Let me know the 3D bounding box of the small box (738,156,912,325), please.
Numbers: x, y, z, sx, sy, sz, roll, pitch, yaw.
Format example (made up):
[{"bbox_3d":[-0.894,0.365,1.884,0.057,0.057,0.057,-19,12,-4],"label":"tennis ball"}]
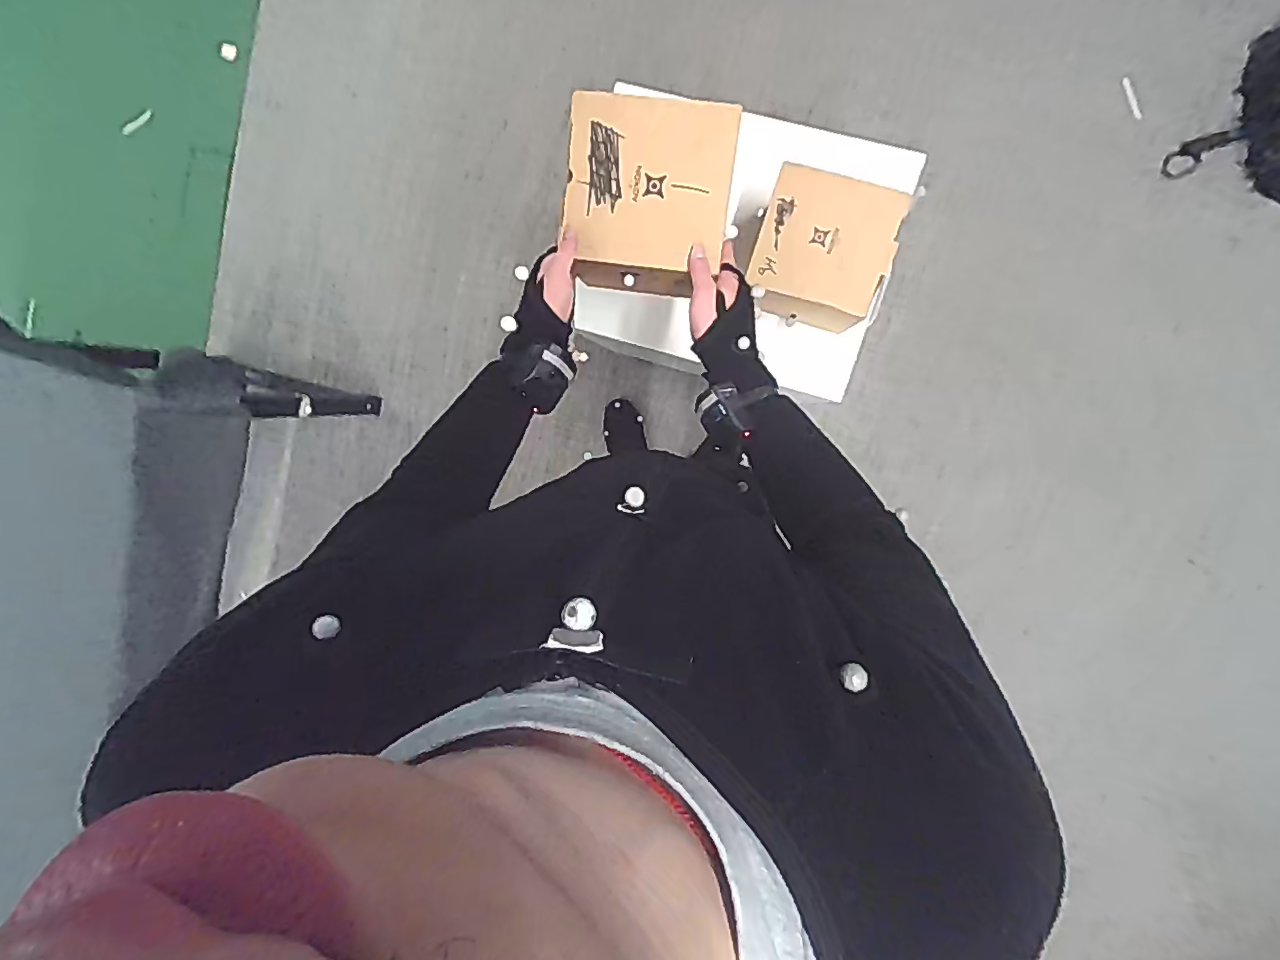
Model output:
[{"bbox_3d":[0.256,-0.335,0.797,0.179,0.176,0.168,19,100,3],"label":"small box"}]

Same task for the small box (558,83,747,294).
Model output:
[{"bbox_3d":[0.015,-0.319,0.628,0.179,0.176,0.168,7,101,2],"label":"small box"}]
